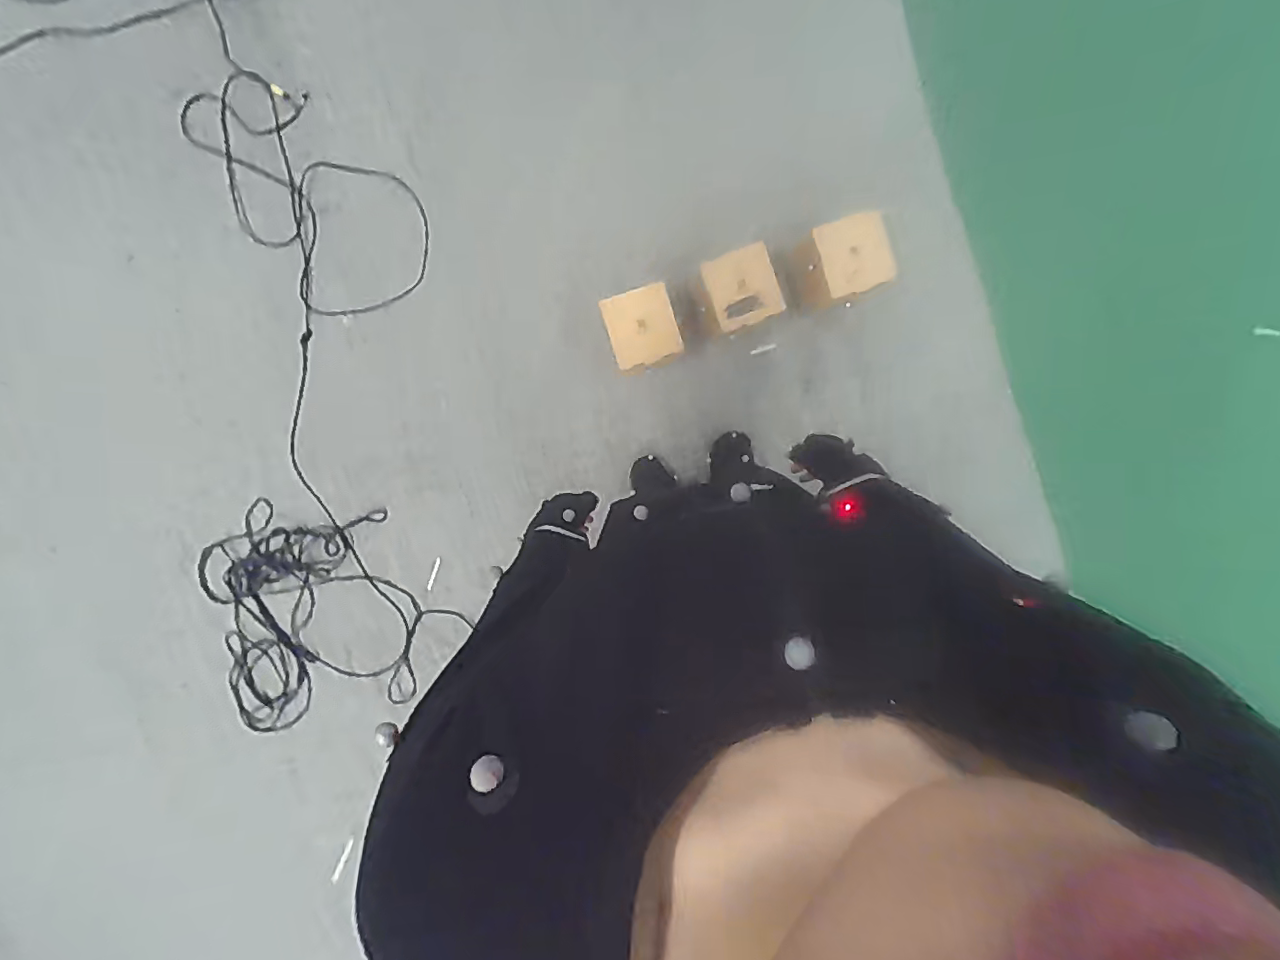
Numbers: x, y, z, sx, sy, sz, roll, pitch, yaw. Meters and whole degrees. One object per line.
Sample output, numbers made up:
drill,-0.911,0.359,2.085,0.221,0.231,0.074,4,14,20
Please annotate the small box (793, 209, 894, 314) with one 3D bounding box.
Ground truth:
small box,0.507,-0.546,1.373,0.168,0.176,0.179,-18,94,2

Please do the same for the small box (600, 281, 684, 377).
small box,0.004,-0.378,1.384,0.168,0.176,0.179,-18,94,2
